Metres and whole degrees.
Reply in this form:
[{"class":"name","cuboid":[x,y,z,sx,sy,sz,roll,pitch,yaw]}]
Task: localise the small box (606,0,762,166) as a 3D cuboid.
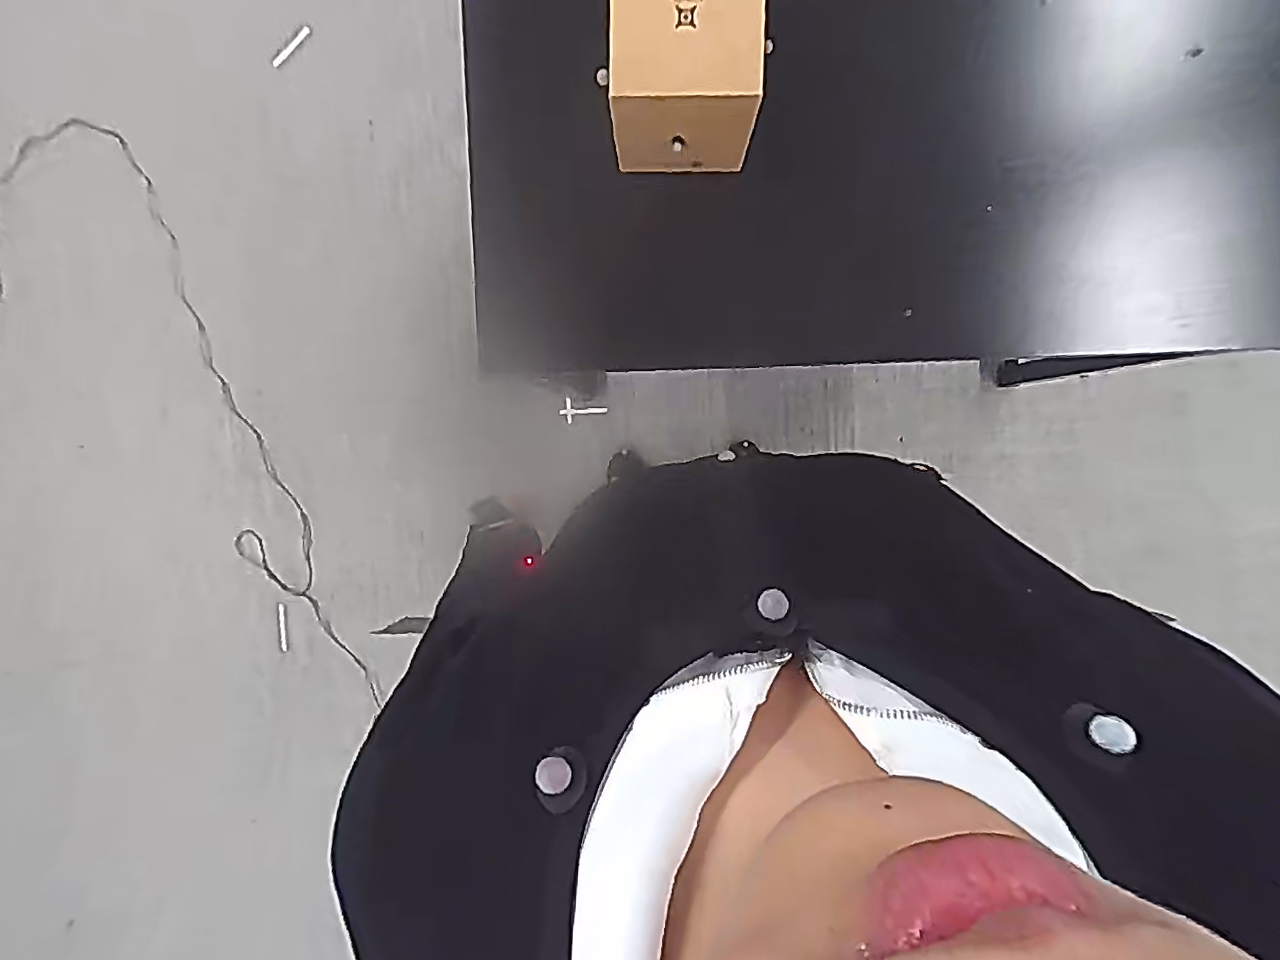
[{"class":"small box","cuboid":[0.052,-0.504,0.651,0.168,0.176,0.179,1,94,2]}]
